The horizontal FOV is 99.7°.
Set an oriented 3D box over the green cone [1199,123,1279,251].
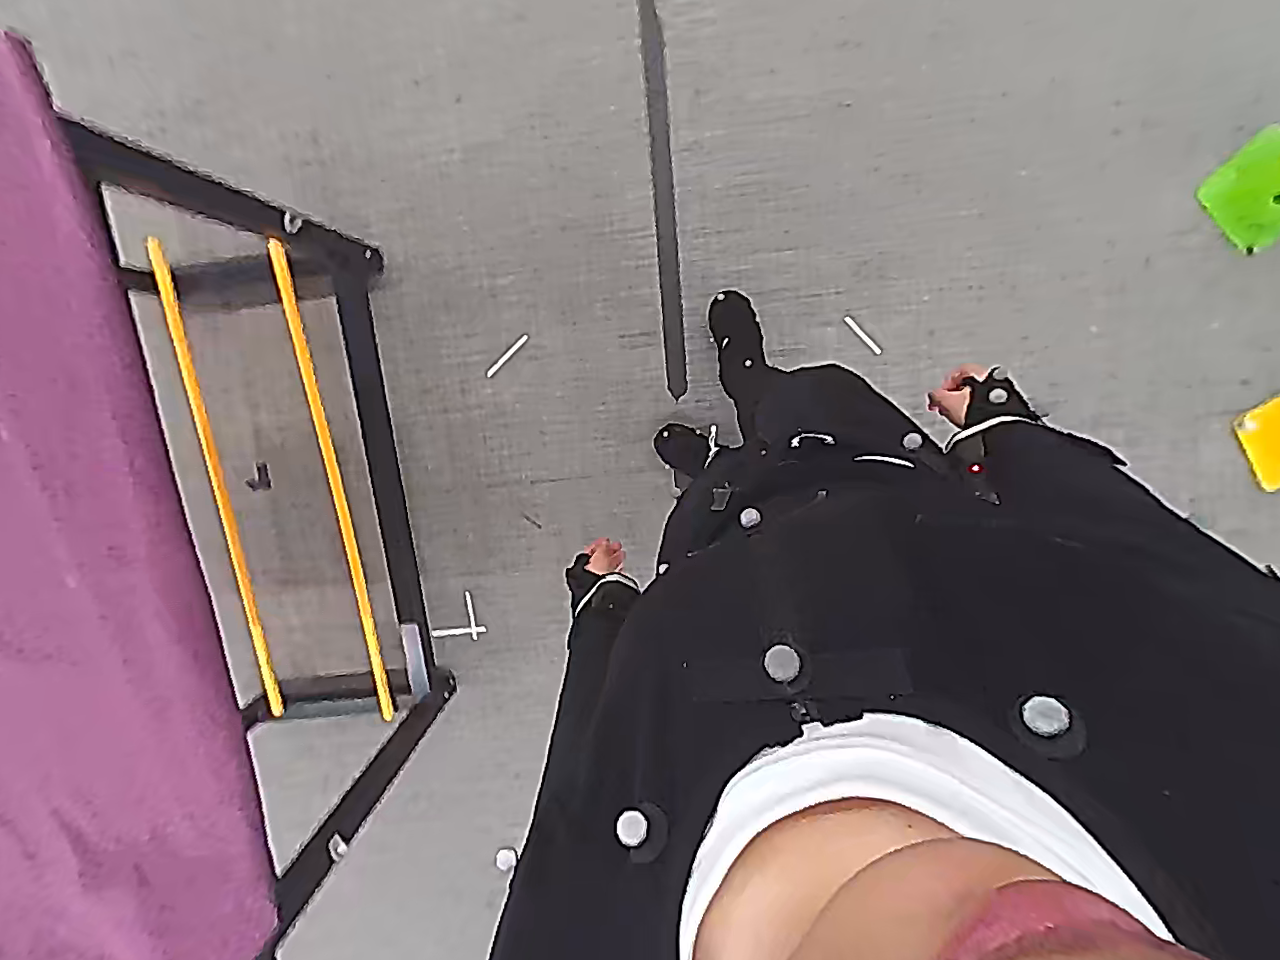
[{"bbox_3d":[1.341,-0.607,1.002,0.202,0.368,0.200,45,99,-3],"label":"green cone"}]
